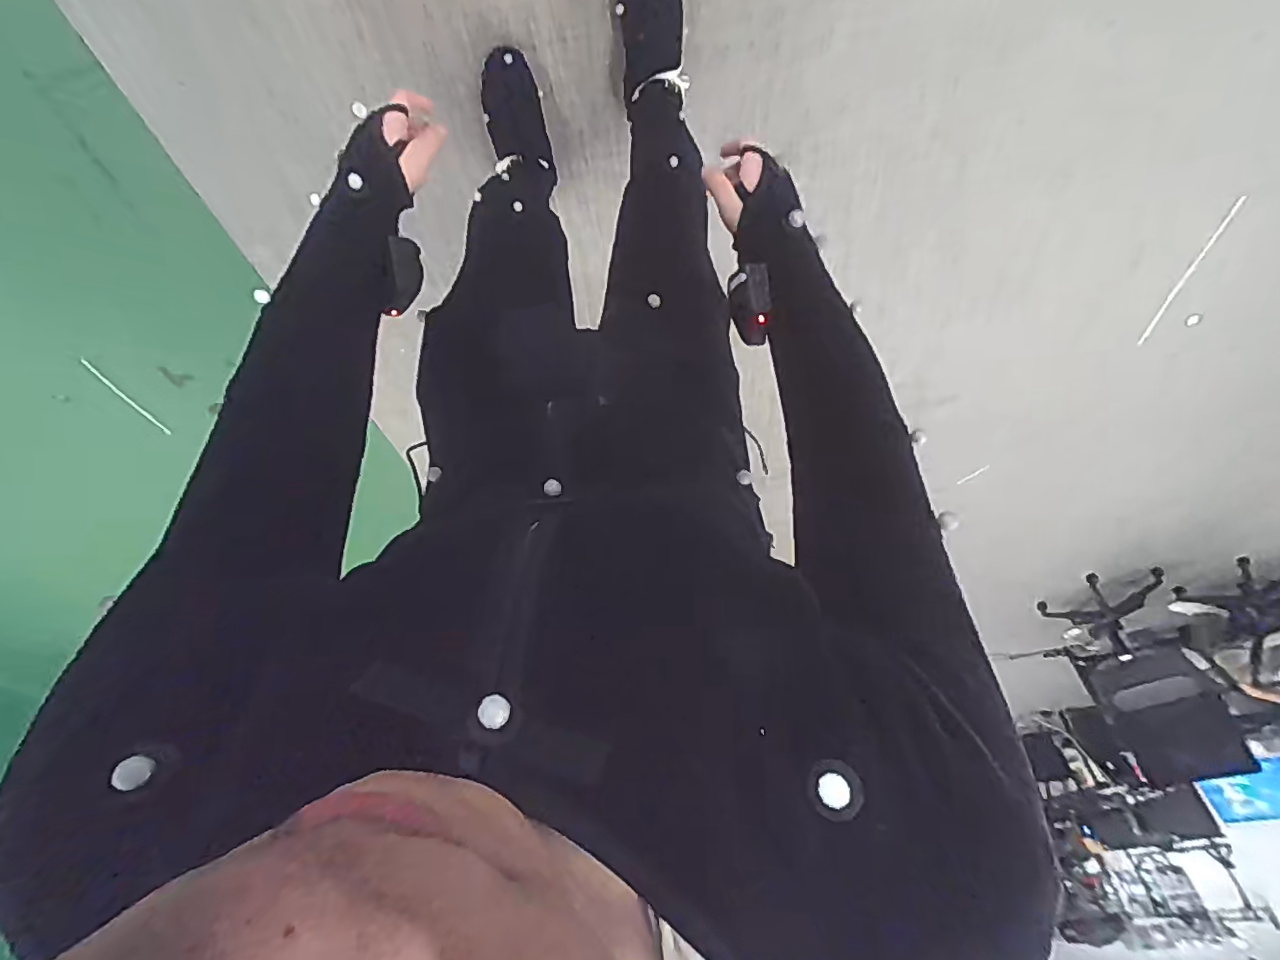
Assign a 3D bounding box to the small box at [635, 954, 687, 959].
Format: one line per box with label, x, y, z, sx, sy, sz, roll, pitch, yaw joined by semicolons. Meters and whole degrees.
small box;0.065;1.616;1.706;0.179;0.176;0.168;-8;143;4
